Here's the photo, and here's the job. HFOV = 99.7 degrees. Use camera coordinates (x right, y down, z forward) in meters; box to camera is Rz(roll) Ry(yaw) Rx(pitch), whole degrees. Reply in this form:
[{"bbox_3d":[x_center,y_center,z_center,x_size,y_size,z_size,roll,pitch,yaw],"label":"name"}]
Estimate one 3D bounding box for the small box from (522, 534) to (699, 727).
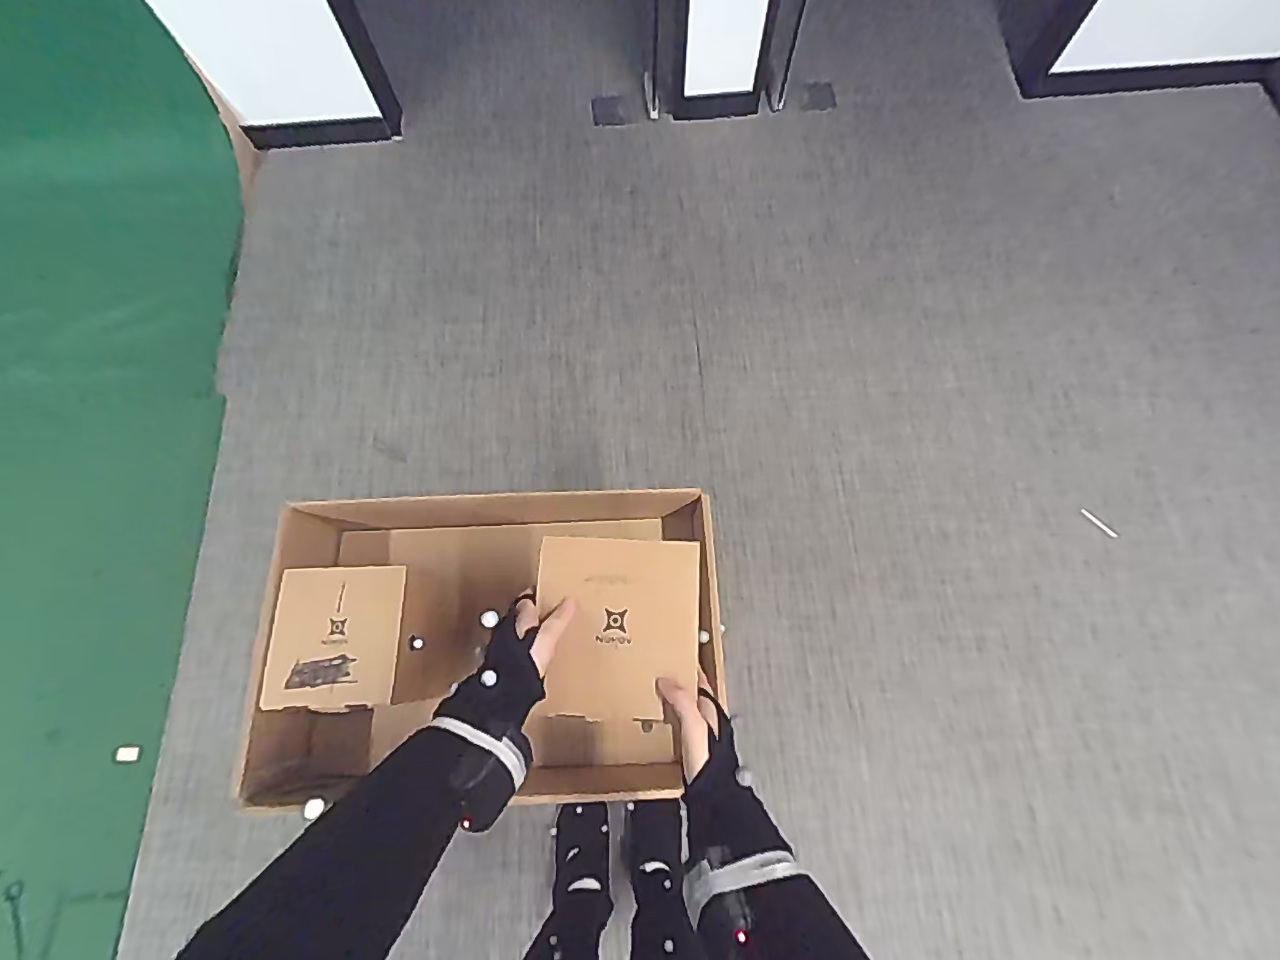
[{"bbox_3d":[-0.023,0.168,0.608,0.168,0.176,0.179,3,71,3],"label":"small box"}]
